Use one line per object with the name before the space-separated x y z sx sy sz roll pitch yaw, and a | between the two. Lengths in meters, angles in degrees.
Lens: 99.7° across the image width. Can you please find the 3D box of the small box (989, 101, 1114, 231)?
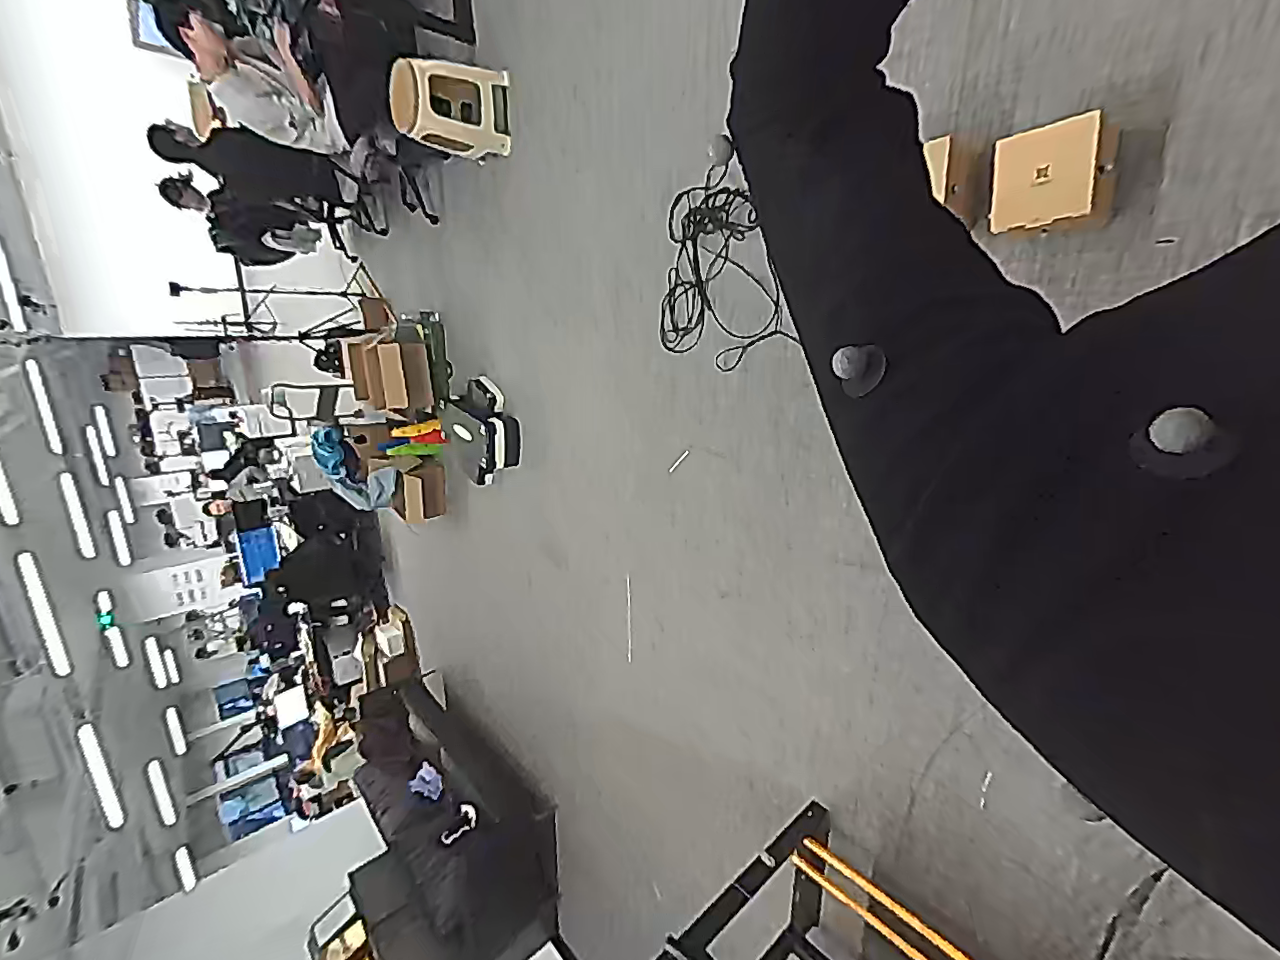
small box | 0.828 -0.617 1.087 0.168 0.176 0.179 10 110 48

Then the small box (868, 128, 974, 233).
small box | 0.657 -0.686 1.263 0.168 0.176 0.179 14 111 47
